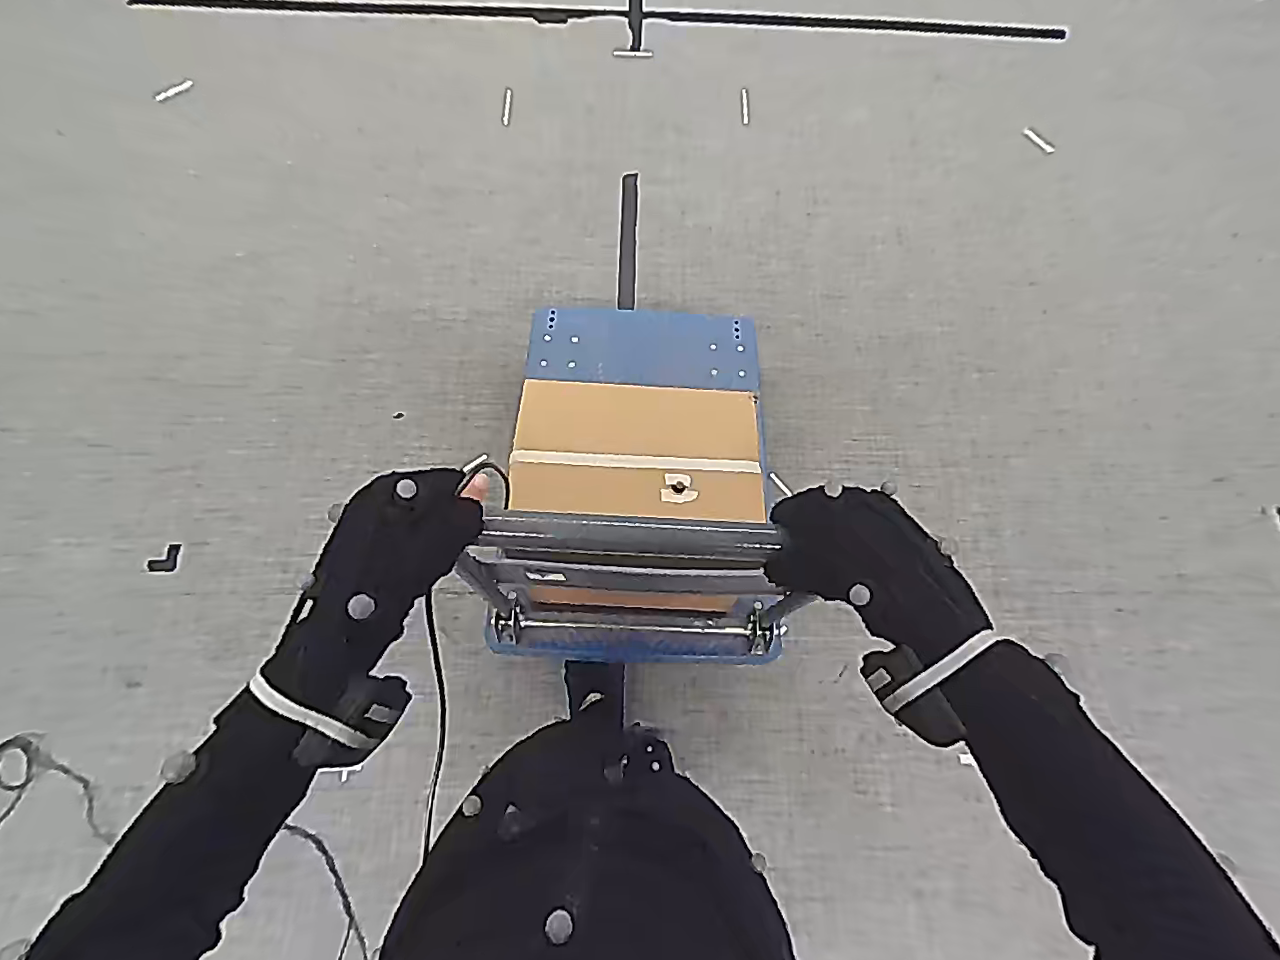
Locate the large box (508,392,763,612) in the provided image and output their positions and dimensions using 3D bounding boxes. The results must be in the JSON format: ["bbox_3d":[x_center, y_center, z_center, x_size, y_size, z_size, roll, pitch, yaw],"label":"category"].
[{"bbox_3d":[-0.013,0.057,1.029,0.408,0.320,0.320,3,63,-3],"label":"large box"}]
